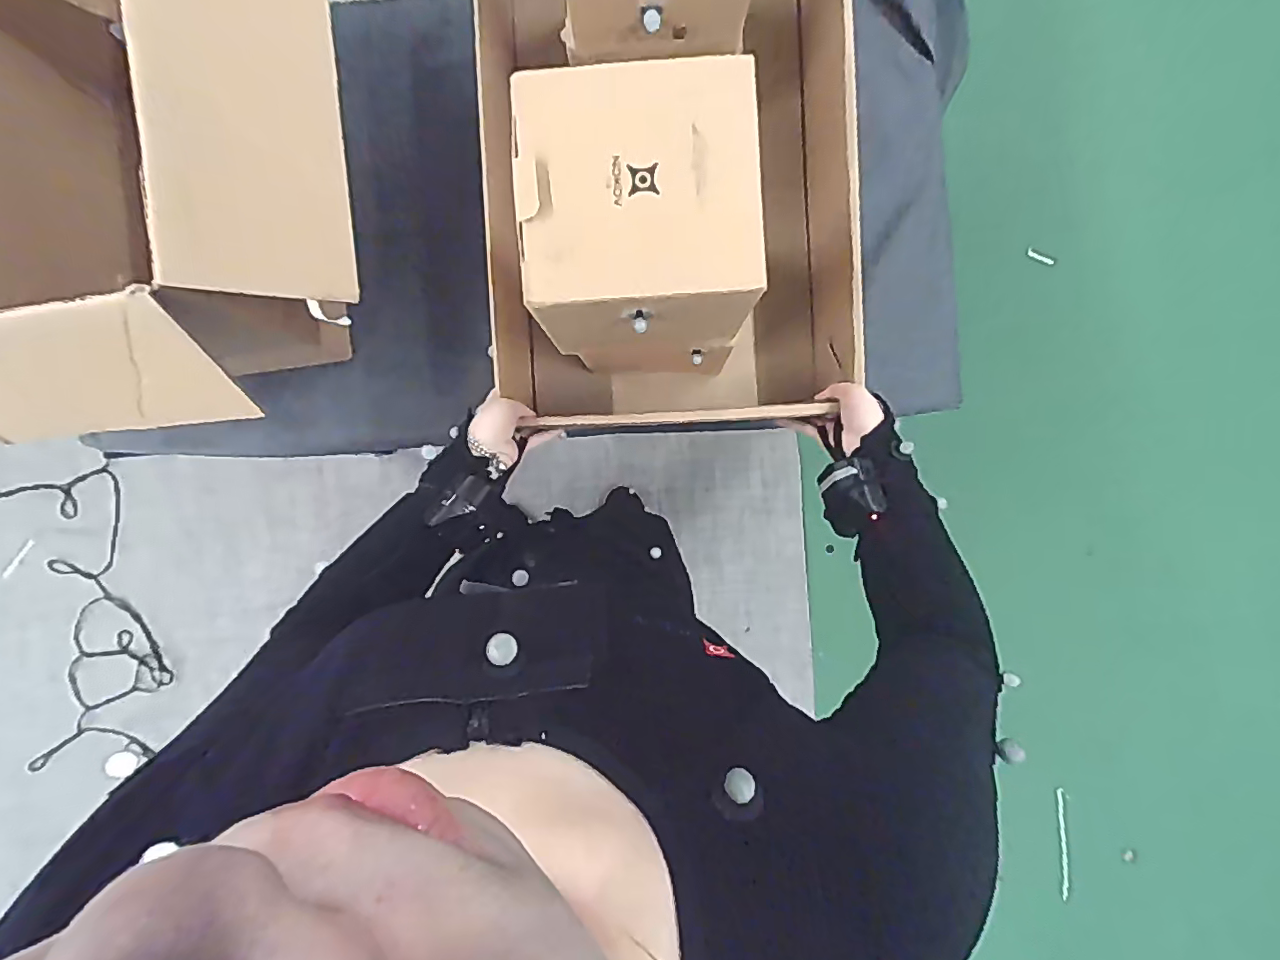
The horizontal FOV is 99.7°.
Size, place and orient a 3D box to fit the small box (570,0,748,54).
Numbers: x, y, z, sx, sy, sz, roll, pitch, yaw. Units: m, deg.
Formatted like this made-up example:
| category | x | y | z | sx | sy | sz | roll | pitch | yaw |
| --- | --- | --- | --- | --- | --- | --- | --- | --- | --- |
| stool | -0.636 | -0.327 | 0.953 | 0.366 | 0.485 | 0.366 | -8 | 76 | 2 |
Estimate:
| category | x | y | z | sx | sy | sz | roll | pitch | yaw |
| --- | --- | --- | --- | --- | --- | --- | --- | --- | --- |
| small box | 0.013 | -0.509 | 0.453 | 0.168 | 0.176 | 0.179 | -3 | 94 | 1 |

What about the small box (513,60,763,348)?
| category | x | y | z | sx | sy | sz | roll | pitch | yaw |
| --- | --- | --- | --- | --- | --- | --- | --- | --- | --- |
| small box | 0.000 | -0.216 | 0.469 | 0.179 | 0.176 | 0.168 | -4 | 92 | 0 |
